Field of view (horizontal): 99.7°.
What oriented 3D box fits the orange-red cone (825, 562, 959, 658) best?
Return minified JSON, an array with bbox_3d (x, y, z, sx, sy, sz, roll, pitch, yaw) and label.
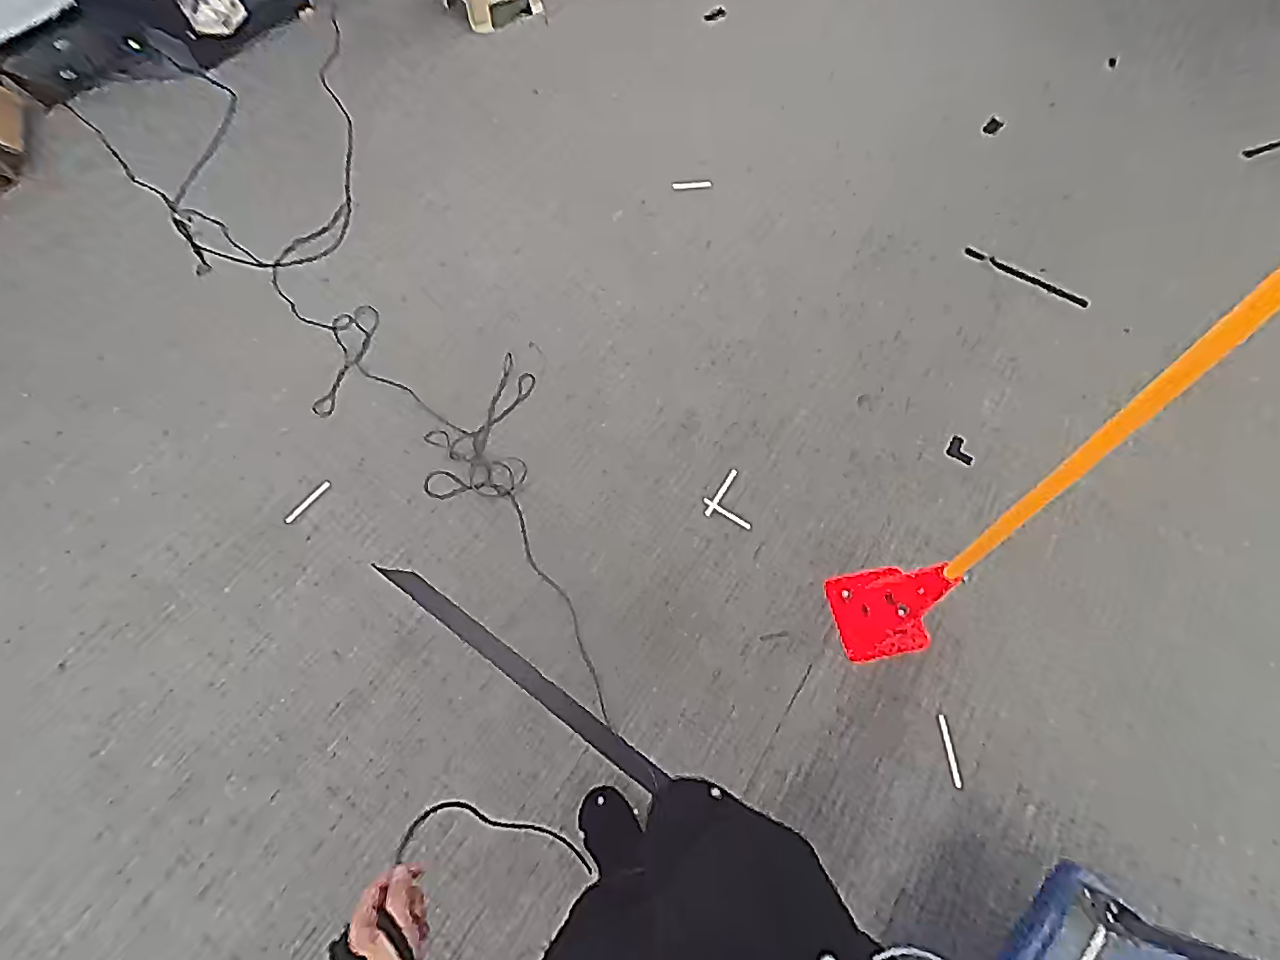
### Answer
[{"bbox_3d":[0.548,0.235,1.111,0.198,0.360,0.199,-9,66,-3],"label":"orange-red cone"}]
